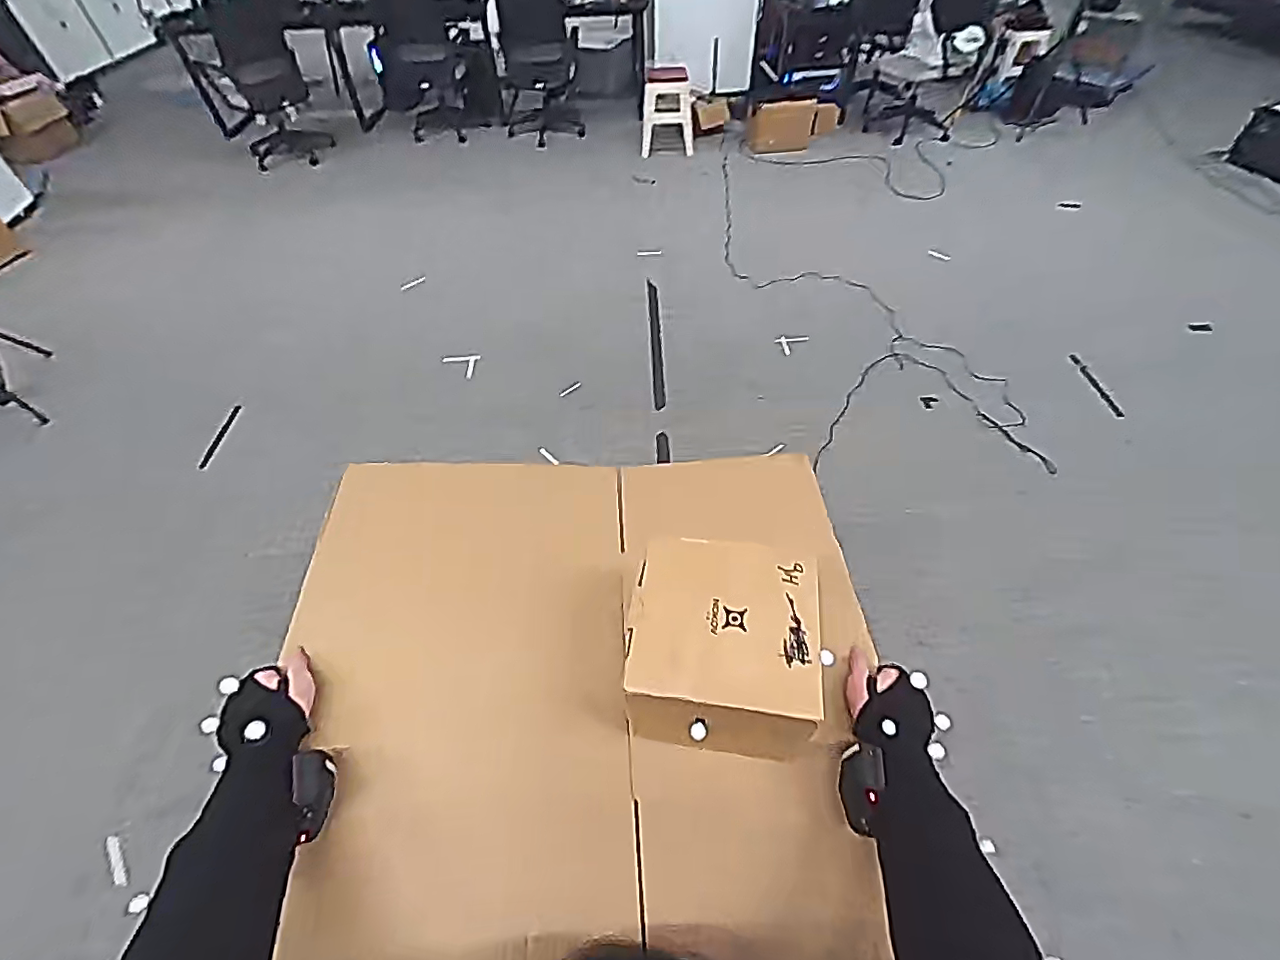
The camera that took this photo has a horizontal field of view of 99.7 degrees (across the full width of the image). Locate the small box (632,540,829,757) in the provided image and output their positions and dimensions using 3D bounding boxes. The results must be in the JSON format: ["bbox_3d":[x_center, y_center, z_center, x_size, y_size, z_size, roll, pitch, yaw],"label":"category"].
[{"bbox_3d":[0.097,0.184,0.583,0.179,0.176,0.168,5,52,9],"label":"small box"}]
